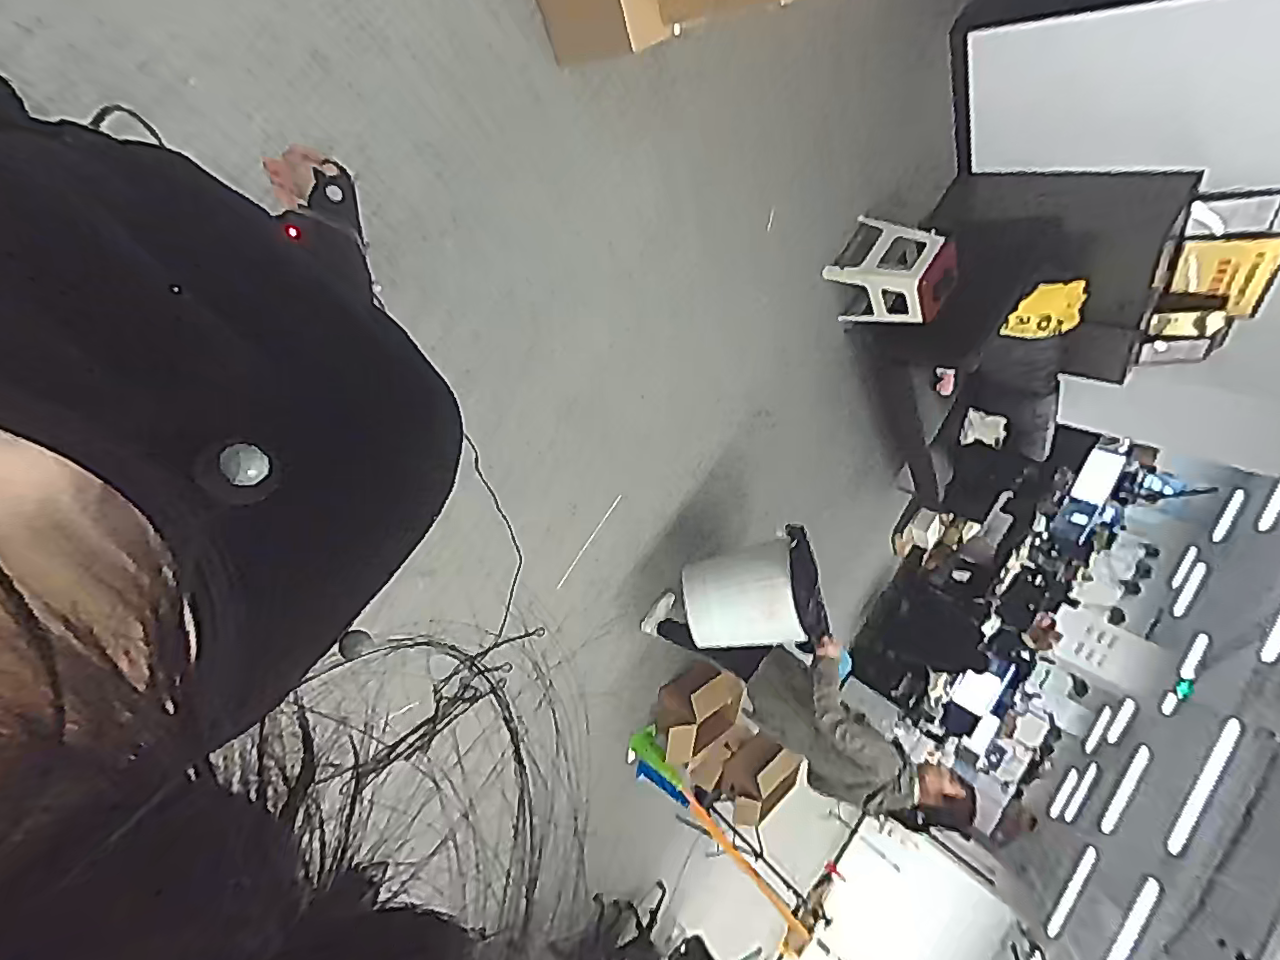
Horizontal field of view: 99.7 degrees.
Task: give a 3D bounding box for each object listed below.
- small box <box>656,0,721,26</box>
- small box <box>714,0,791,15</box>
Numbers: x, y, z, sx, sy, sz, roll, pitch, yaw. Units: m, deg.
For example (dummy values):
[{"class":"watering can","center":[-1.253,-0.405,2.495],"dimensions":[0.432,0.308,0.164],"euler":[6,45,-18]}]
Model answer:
[{"class":"small box","center":[0.143,-1.166,1.222],"dimensions":[0.179,0.176,0.168],"euler":[-43,136,-22]},{"class":"small box","center":[0.256,-1.102,1.125],"dimensions":[0.168,0.176,0.179],"euler":[-42,136,-23]}]
